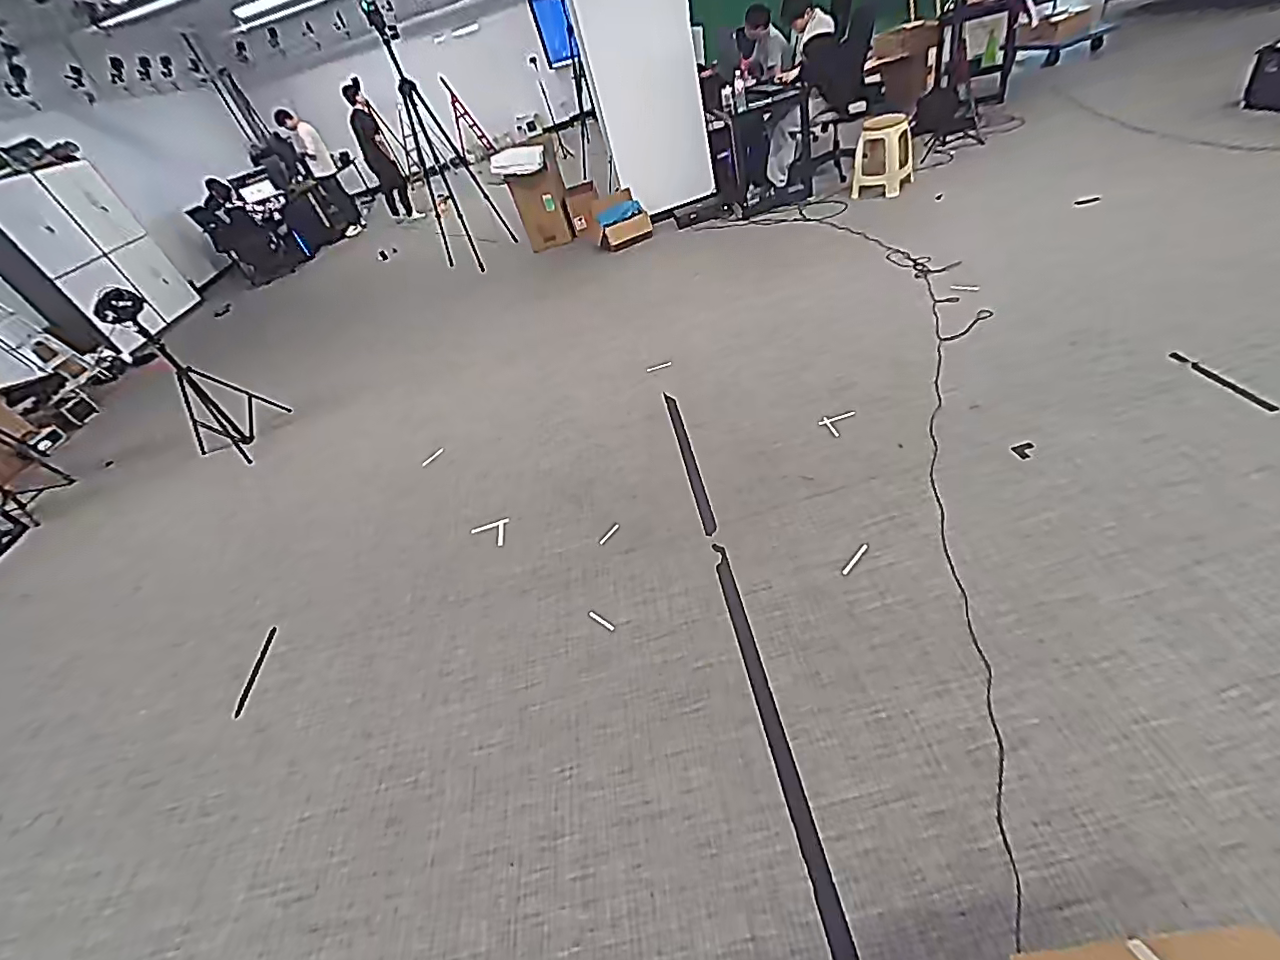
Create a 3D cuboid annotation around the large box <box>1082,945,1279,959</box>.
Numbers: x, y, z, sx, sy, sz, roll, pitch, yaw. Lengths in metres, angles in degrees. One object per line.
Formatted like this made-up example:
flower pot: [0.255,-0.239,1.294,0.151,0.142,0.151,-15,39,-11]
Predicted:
large box: [0.641,0.733,0.482,0.320,0.408,0.320,-15,78,8]
